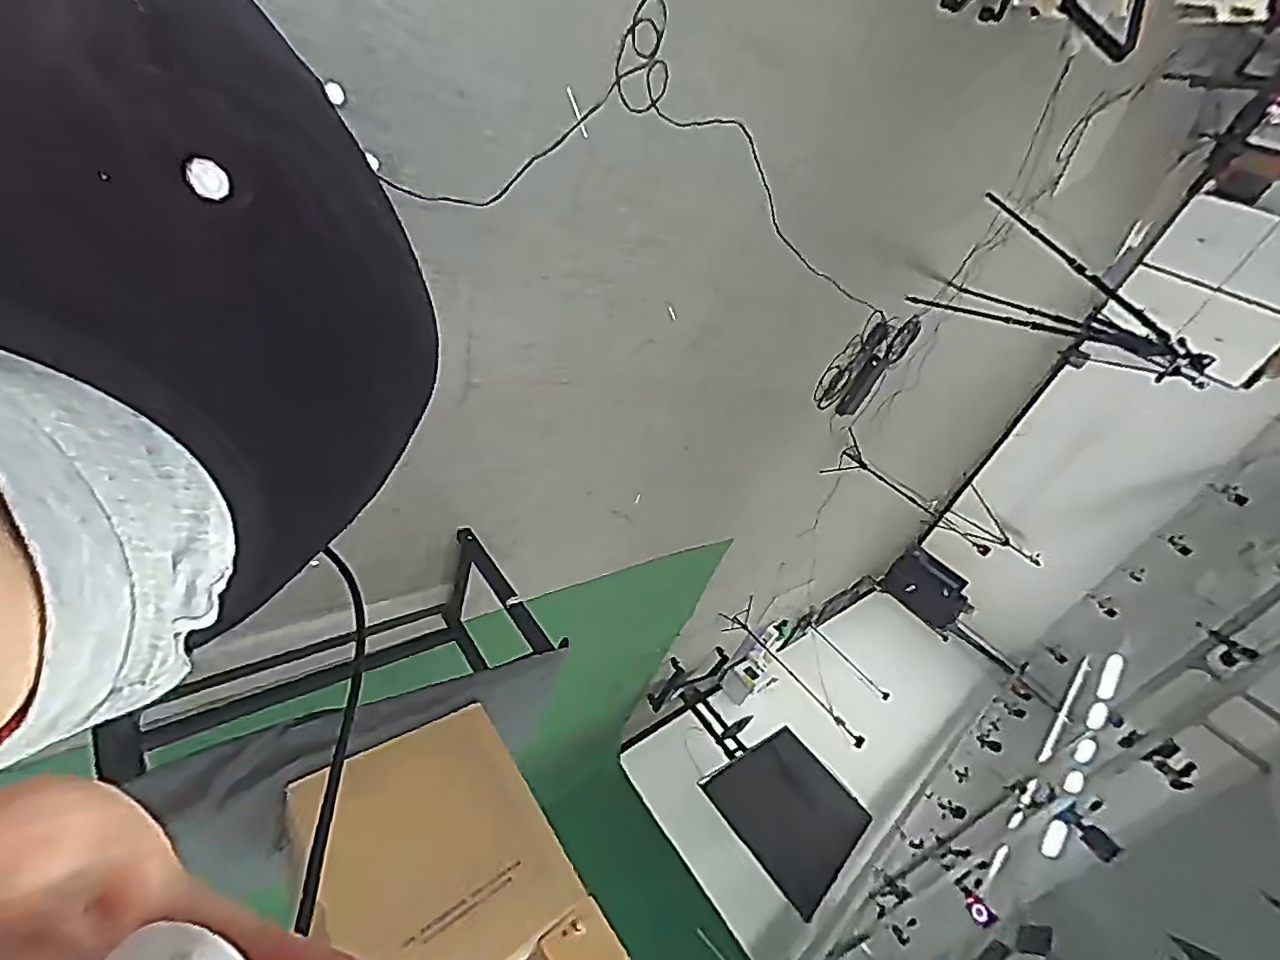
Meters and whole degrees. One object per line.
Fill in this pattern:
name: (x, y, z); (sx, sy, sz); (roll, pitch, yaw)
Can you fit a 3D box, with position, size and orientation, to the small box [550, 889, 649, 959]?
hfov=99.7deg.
small box: (-0.109, 1.198, 1.376); (0.168, 0.176, 0.179); (-17, 136, -43)
